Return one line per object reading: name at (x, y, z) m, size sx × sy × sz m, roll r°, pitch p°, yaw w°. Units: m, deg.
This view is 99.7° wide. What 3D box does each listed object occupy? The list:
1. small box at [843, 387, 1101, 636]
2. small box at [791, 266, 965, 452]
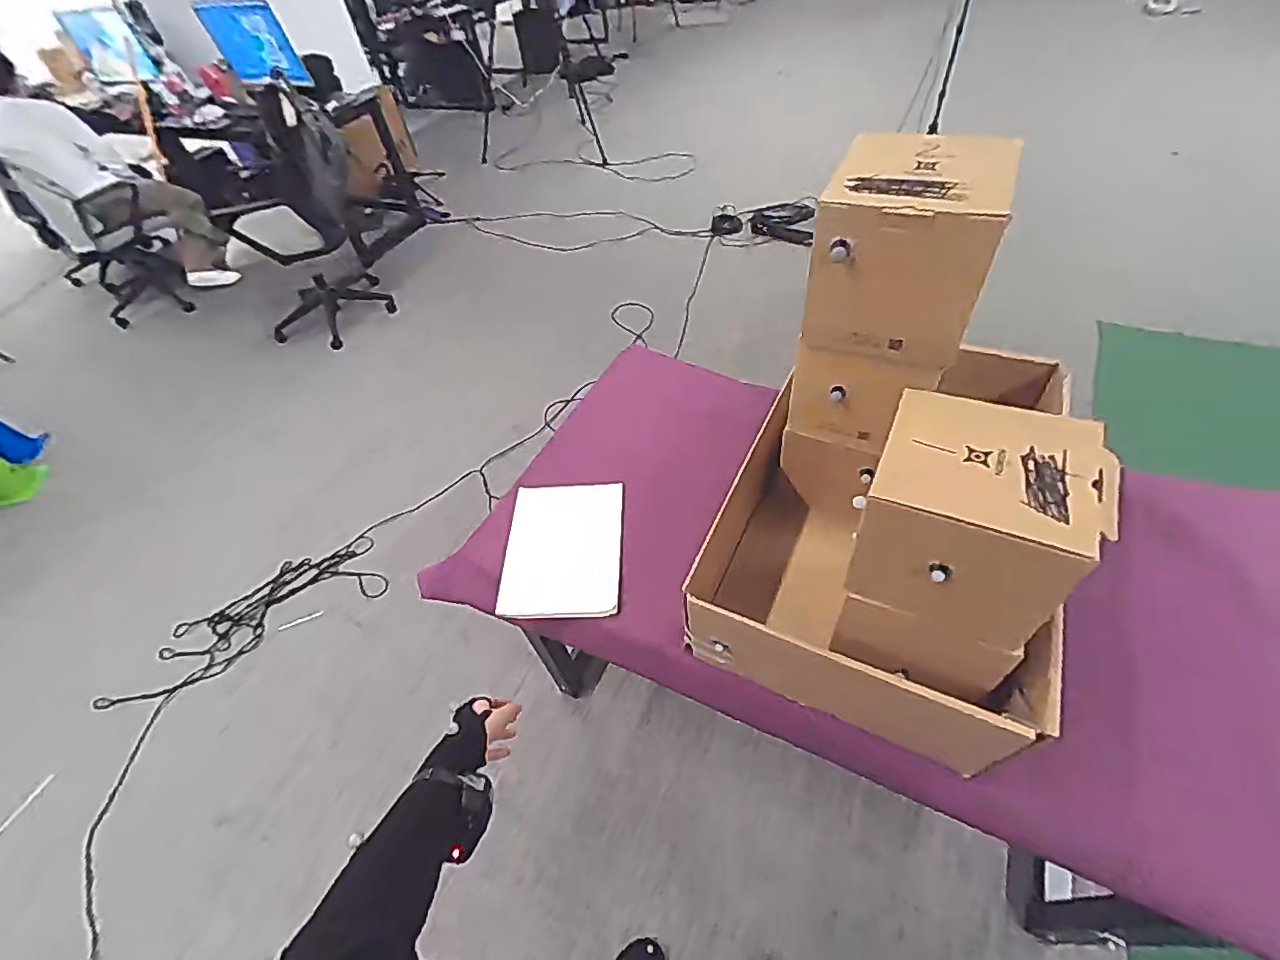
small box at (0.326, 0.034, 0.555) m, size 0.179 × 0.176 × 0.168 m, roll 17°, pitch 53°, yaw 25°
small box at (0.312, -0.160, 0.734) m, size 0.168 × 0.176 × 0.179 m, roll 19°, pitch 56°, yaw 23°
